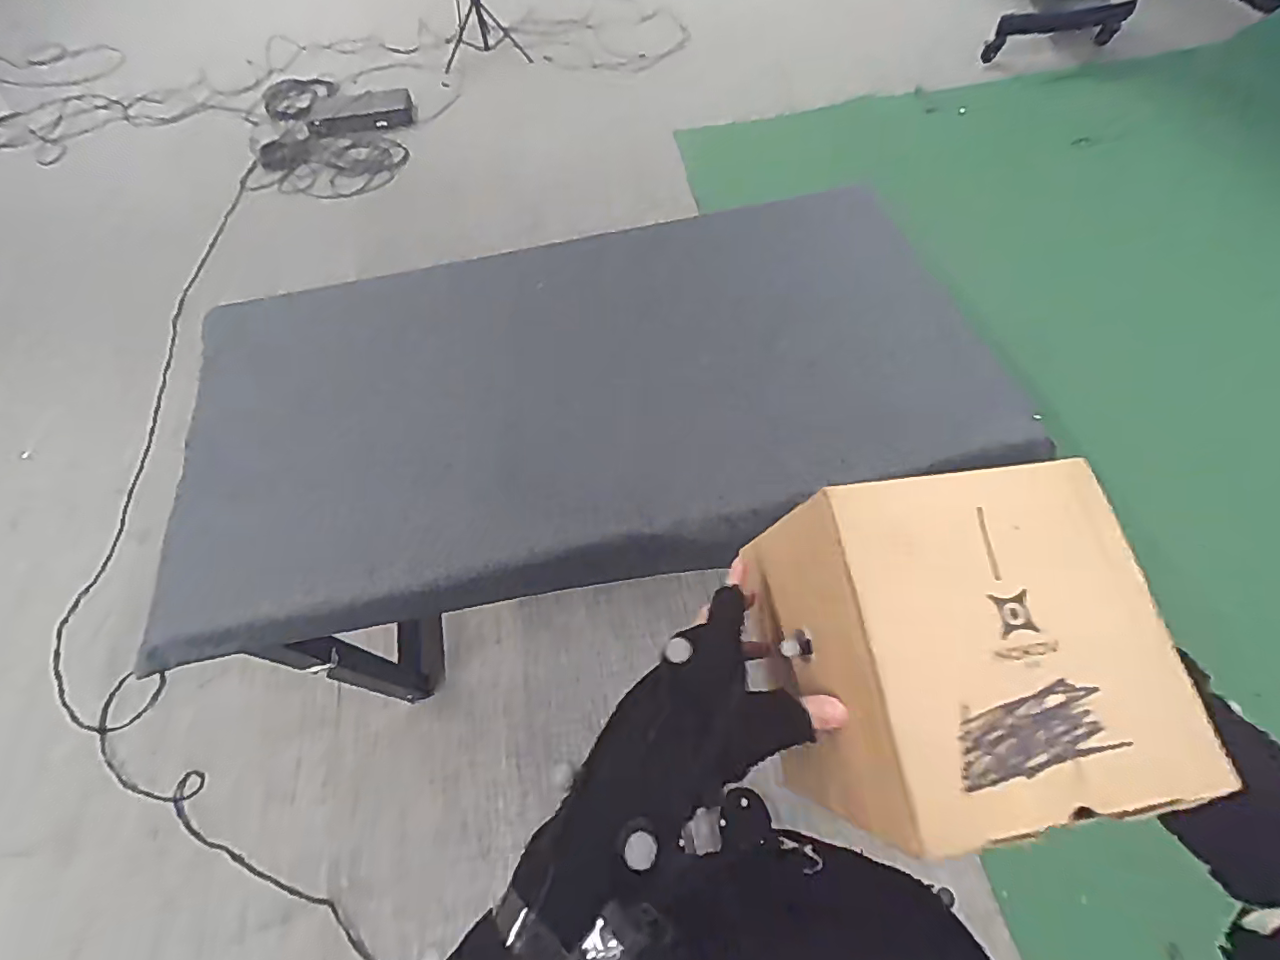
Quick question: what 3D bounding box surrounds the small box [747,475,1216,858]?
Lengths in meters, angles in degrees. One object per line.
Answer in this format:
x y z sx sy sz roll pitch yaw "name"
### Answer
0.185 0.111 0.357 0.168 0.176 0.179 -5 70 -9 "small box"
